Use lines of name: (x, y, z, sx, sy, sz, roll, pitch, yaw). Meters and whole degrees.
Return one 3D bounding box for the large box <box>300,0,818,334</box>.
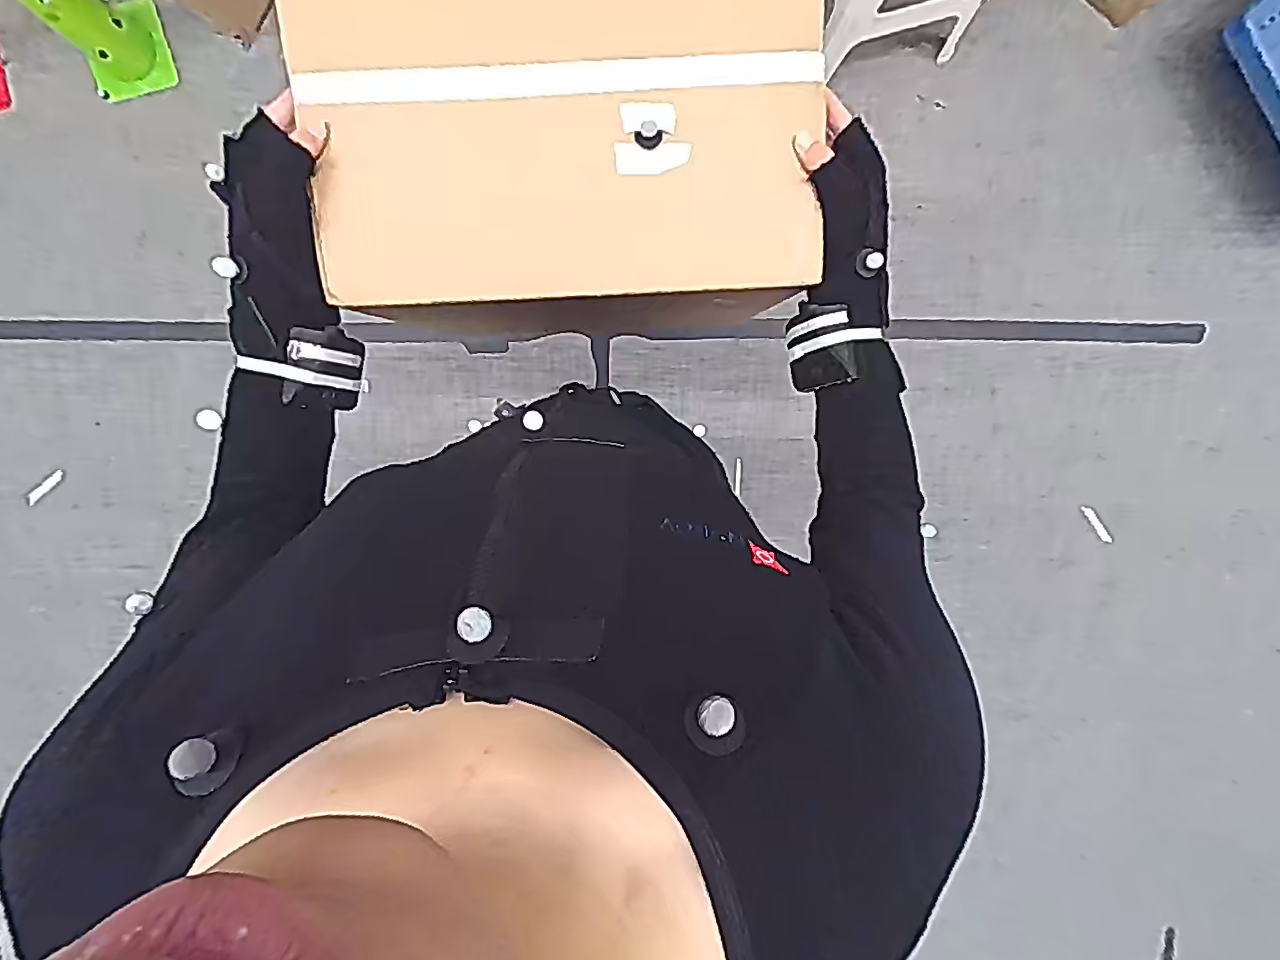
large box: (-0.064, -0.339, 0.571, 0.408, 0.320, 0.320, -3, 100, -1)
